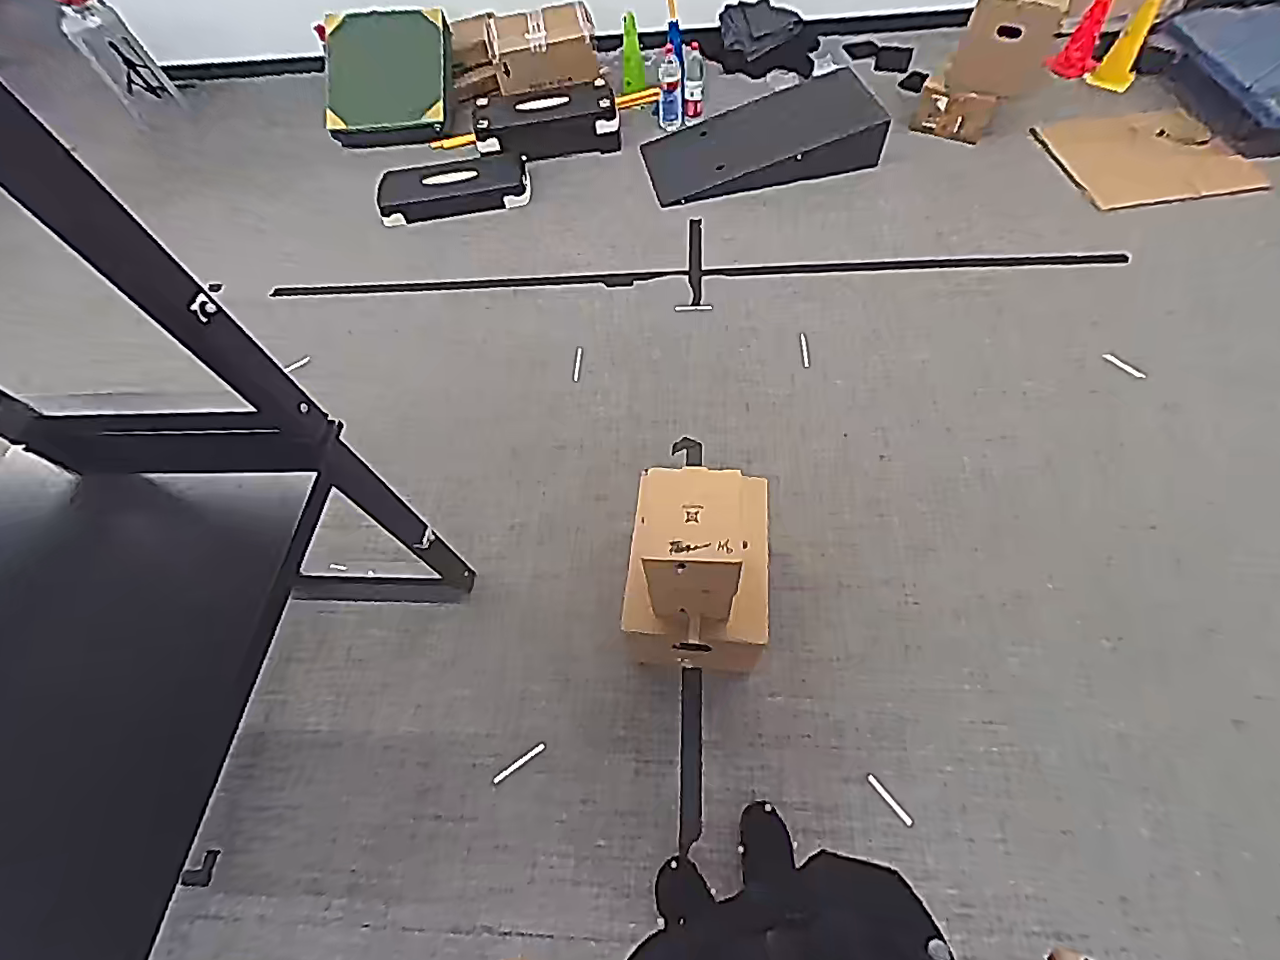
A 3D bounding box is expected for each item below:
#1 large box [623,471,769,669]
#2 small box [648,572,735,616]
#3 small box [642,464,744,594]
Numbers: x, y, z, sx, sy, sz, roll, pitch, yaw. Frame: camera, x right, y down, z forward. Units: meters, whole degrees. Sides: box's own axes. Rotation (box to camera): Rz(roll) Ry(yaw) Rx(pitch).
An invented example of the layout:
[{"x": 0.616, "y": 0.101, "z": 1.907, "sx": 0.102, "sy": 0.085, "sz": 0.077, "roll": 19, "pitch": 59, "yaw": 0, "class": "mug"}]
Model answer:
[{"x": 0.143, "y": 0.232, "z": 1.358, "sx": 0.320, "sy": 0.320, "sz": 0.408, "roll": 4, "pitch": 60, "yaw": 6, "class": "large box"}, {"x": 0.111, "y": 0.167, "z": 1.115, "sx": 0.168, "sy": 0.176, "sz": 0.179, "roll": 3, "pitch": 61, "yaw": 8, "class": "small box"}, {"x": 0.099, "y": 0.089, "z": 0.972, "sx": 0.168, "sy": 0.176, "sz": 0.179, "roll": 1, "pitch": 59, "yaw": 8, "class": "small box"}]
